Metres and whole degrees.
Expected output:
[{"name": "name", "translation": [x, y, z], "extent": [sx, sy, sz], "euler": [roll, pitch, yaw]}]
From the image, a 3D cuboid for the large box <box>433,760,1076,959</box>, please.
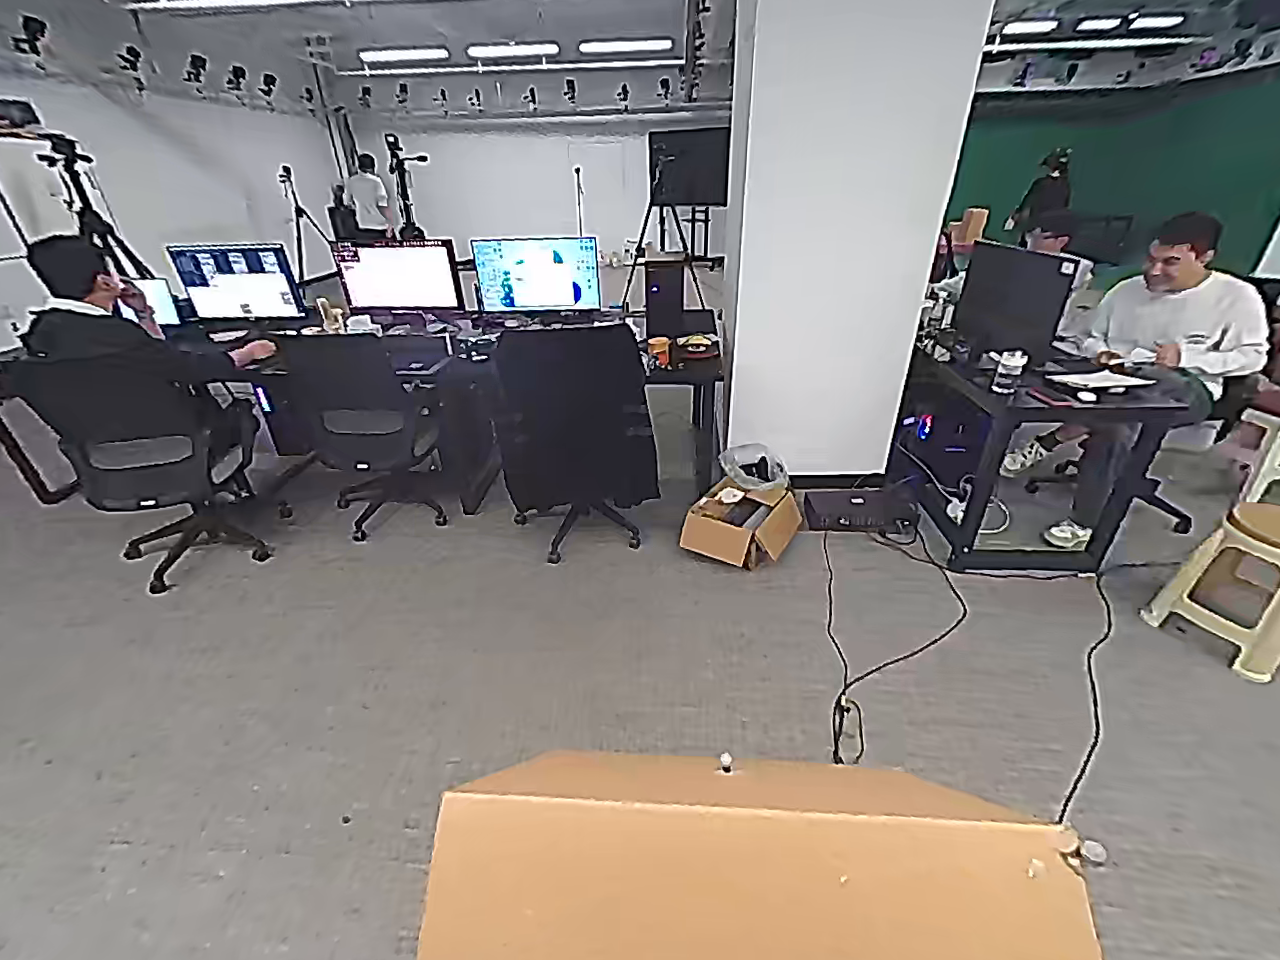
[{"name": "large box", "translation": [0.073, 0.420, 0.448], "extent": [0.408, 0.320, 0.320], "euler": [-1, 70, 5]}]
